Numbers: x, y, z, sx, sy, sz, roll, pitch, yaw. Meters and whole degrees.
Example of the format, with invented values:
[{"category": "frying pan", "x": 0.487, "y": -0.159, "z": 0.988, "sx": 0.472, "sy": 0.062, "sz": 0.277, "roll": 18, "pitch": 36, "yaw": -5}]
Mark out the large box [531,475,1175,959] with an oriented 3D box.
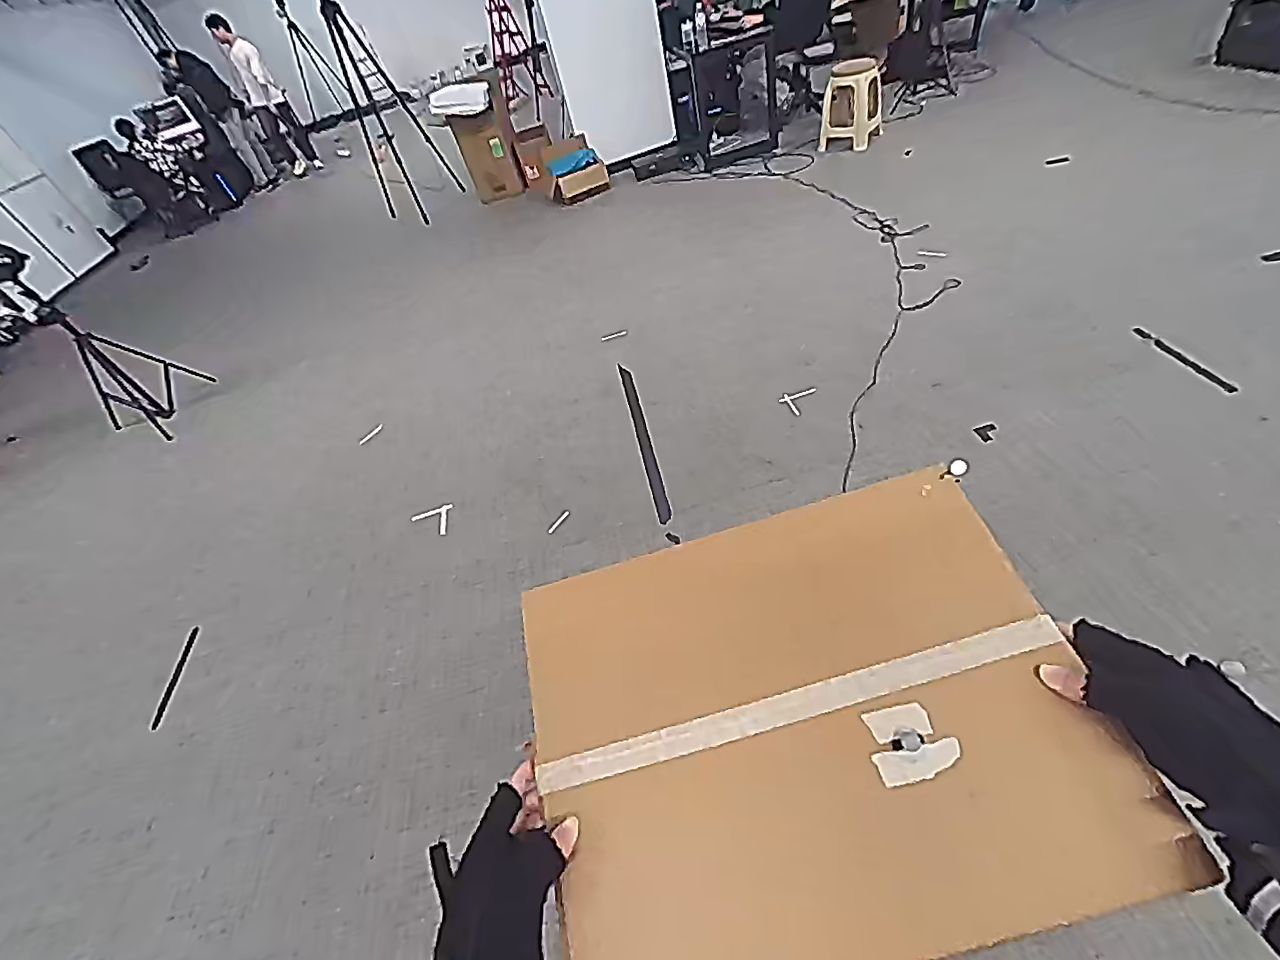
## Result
[{"category": "large box", "x": 0.146, "y": 0.255, "z": 0.553, "sx": 0.408, "sy": 0.320, "sz": 0.320, "roll": -18, "pitch": 57, "yaw": 2}]
